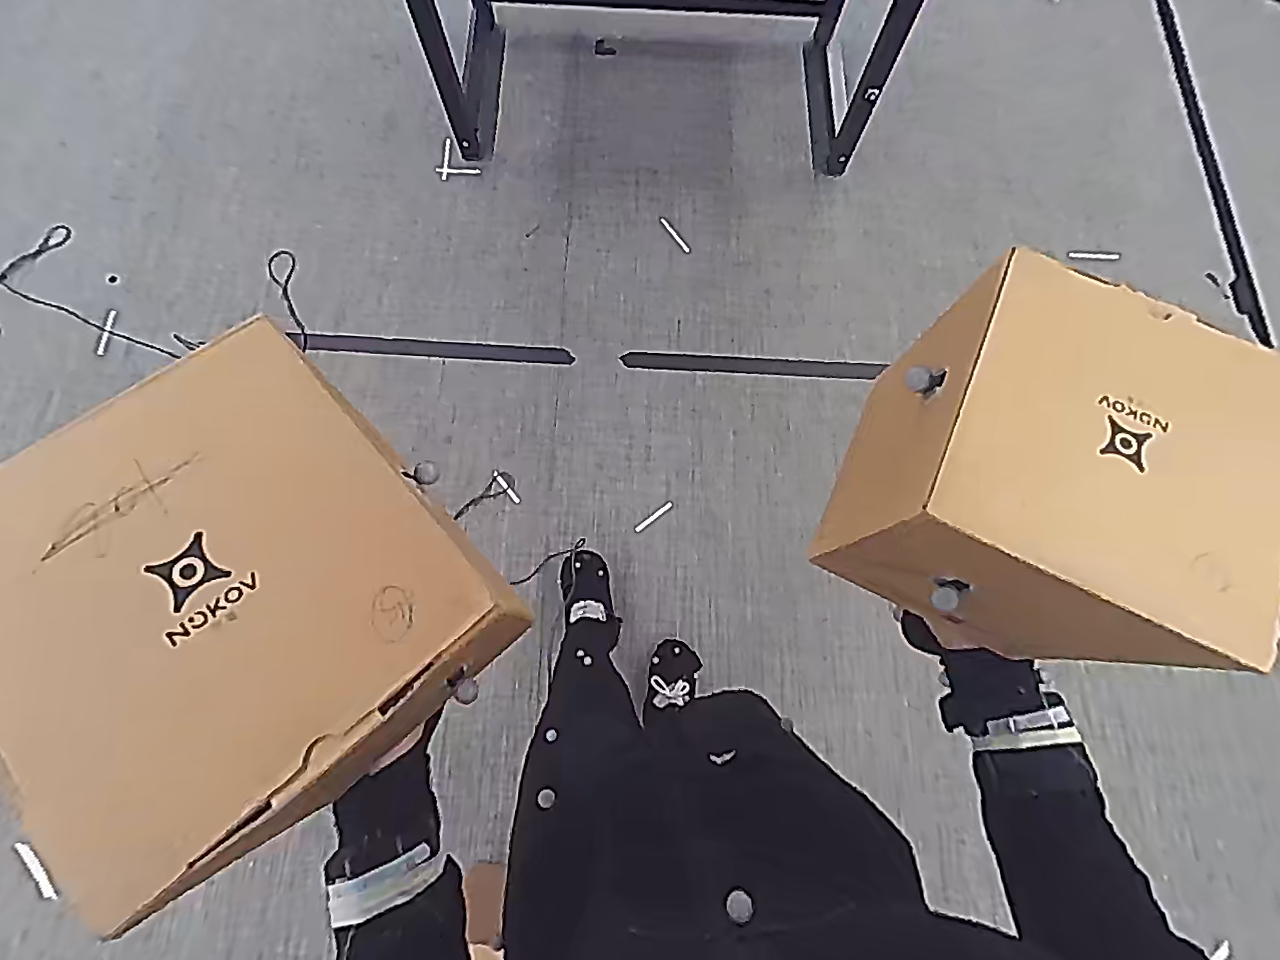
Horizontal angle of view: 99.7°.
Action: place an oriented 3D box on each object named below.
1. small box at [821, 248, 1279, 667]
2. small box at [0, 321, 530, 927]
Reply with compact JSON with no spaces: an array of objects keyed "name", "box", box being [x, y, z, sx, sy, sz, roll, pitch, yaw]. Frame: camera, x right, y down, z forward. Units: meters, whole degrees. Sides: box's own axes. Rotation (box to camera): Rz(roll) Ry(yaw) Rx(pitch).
[{"name":"small box","box":[0.239,0.000,0.349,0.168,0.176,0.179,26,73,5]},{"name":"small box","box":[-0.177,0.061,0.288,0.168,0.176,0.179,-41,81,-16]}]
